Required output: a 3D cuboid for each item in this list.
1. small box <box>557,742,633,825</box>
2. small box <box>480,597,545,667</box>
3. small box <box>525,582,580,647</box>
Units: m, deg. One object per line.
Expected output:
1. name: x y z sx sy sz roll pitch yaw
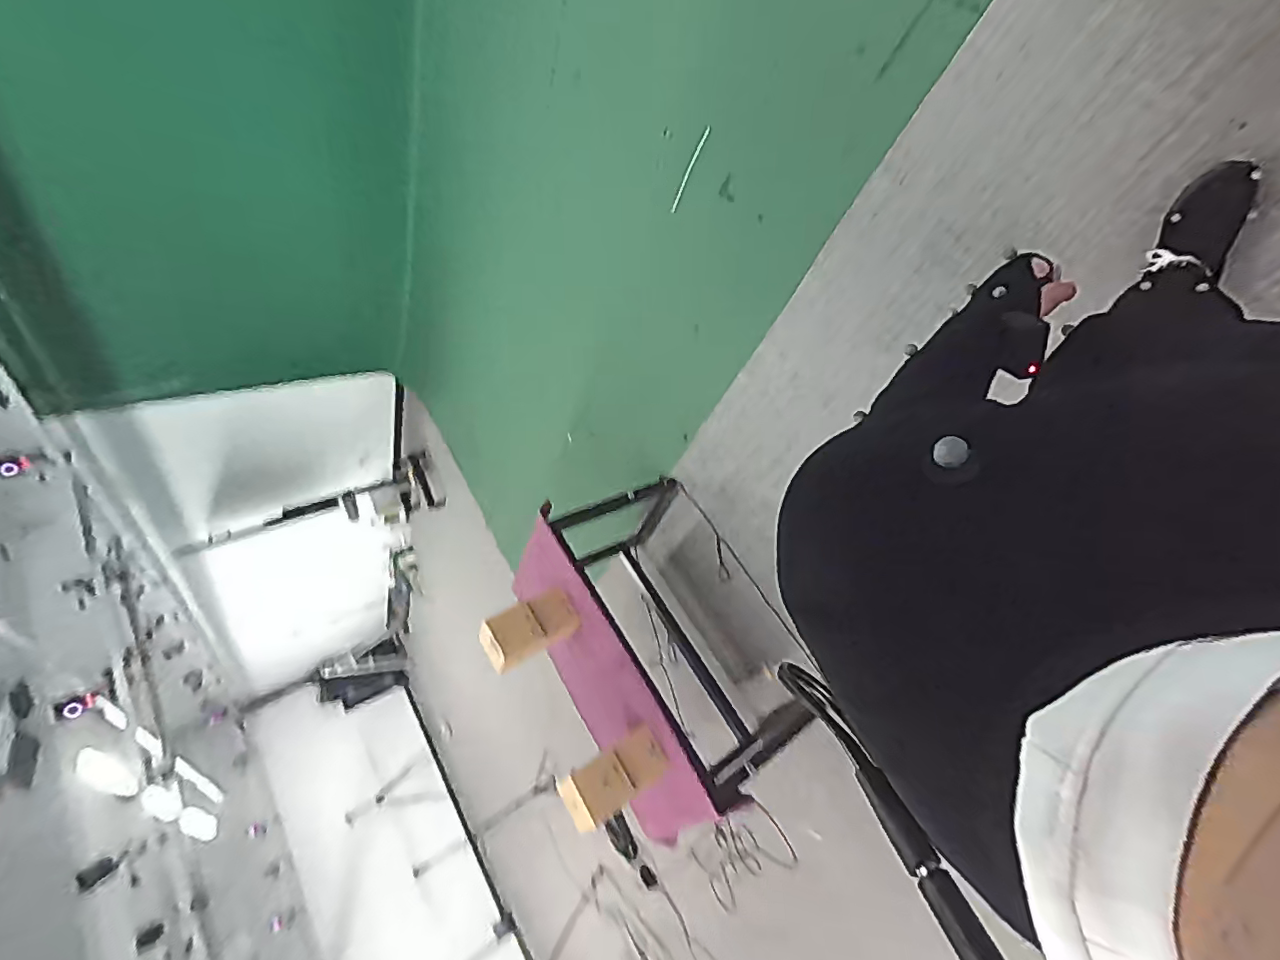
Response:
1. small box: -0.147 0.999 1.786 0.168 0.176 0.179 55 141 21
2. small box: -0.477 0.566 2.026 0.168 0.176 0.179 54 143 20
3. small box: -0.359 0.531 2.137 0.168 0.176 0.179 55 142 18
